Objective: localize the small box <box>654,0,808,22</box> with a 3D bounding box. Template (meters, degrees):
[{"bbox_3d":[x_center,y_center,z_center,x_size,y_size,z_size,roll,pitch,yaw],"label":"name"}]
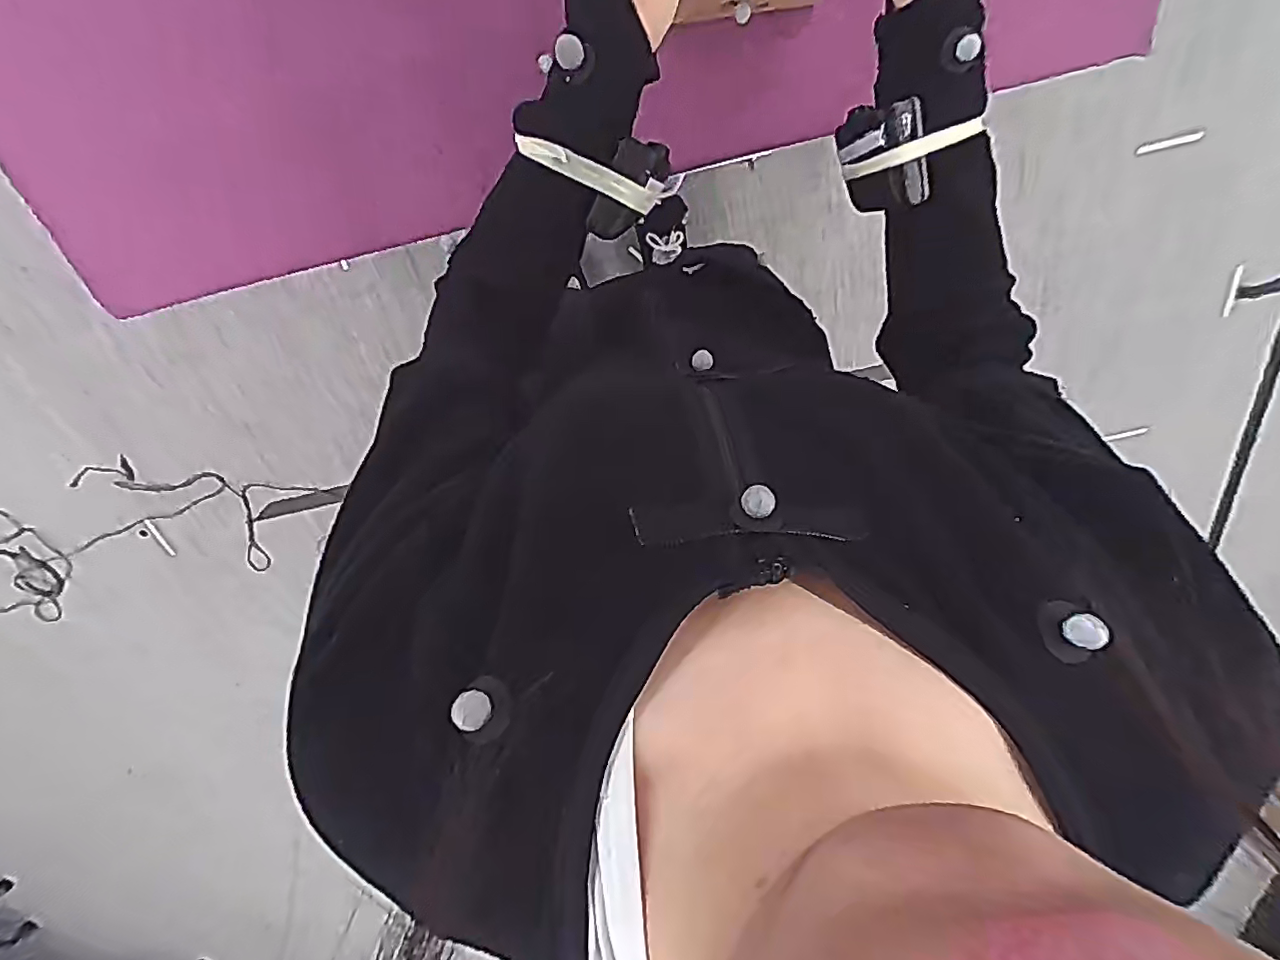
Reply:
[{"bbox_3d":[0.090,-0.509,0.434,0.168,0.176,0.179,-7,119,0],"label":"small box"}]
